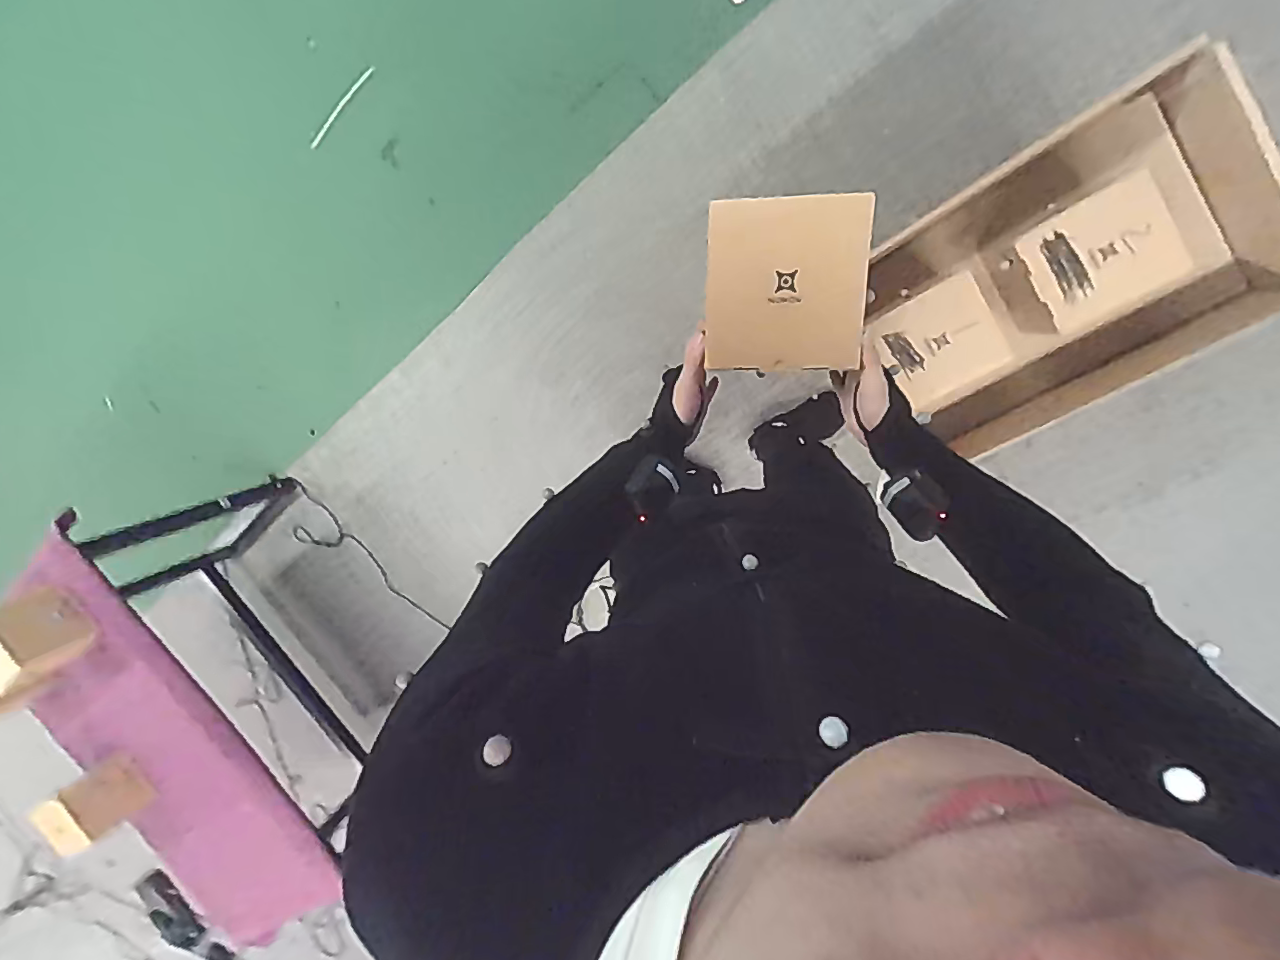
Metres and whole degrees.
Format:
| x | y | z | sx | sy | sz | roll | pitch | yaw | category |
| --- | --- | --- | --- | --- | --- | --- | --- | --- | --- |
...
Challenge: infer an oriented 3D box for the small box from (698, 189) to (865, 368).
| x | y | z | sx | sy | sz | roll | pitch | yaw | category |
| --- | --- | --- | --- | --- | --- | --- | --- | --- | --- |
| 0.153 | -0.226 | 0.642 | 0.168 | 0.176 | 0.179 | 1 | 105 | 8 | small box |

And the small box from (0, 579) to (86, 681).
| x | y | z | sx | sy | sz | roll | pitch | yaw | category |
| --- | --- | --- | --- | --- | --- | --- | --- | --- | --- |
| -1.544 | 0.377 | 1.338 | 0.179 | 0.176 | 0.168 | -34 | 96 | 22 | small box |

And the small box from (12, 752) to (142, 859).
| x | y | z | sx | sy | sz | roll | pitch | yaw | category |
| --- | --- | --- | --- | --- | --- | --- | --- | --- | --- |
| -1.536 | 0.888 | 1.488 | 0.179 | 0.176 | 0.168 | -31 | 95 | 21 | small box |

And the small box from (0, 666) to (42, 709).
| x | y | z | sx | sy | sz | roll | pitch | yaw | category |
| --- | --- | --- | --- | --- | --- | --- | --- | --- | --- |
| -1.787 | 0.544 | 1.453 | 0.179 | 0.176 | 0.168 | -33 | 95 | 18 | small box |

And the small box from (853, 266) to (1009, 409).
| x | y | z | sx | sy | sz | roll | pitch | yaw | category |
| --- | --- | --- | --- | --- | --- | --- | --- | --- | --- |
| 0.491 | -0.244 | 0.945 | 0.179 | 0.176 | 0.168 | -29 | 97 | 19 | small box |
